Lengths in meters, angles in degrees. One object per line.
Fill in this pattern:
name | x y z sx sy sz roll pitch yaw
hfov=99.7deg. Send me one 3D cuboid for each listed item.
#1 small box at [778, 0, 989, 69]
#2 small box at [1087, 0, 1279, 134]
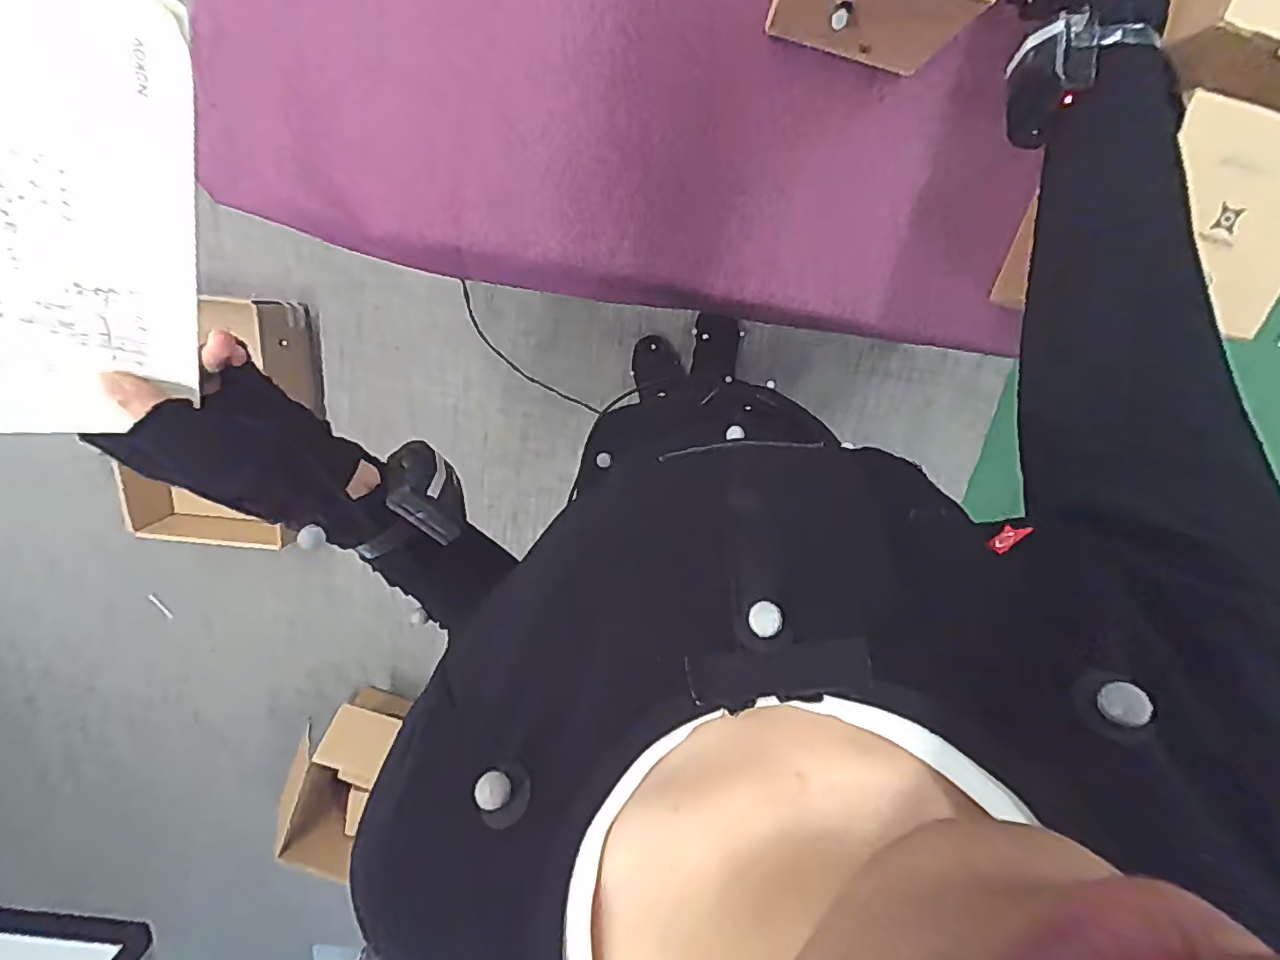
small box | 0.231 -0.503 0.471 0.168 0.176 0.179 15 109 -1
small box | 0.567 -0.448 0.489 0.168 0.176 0.179 16 108 -4
